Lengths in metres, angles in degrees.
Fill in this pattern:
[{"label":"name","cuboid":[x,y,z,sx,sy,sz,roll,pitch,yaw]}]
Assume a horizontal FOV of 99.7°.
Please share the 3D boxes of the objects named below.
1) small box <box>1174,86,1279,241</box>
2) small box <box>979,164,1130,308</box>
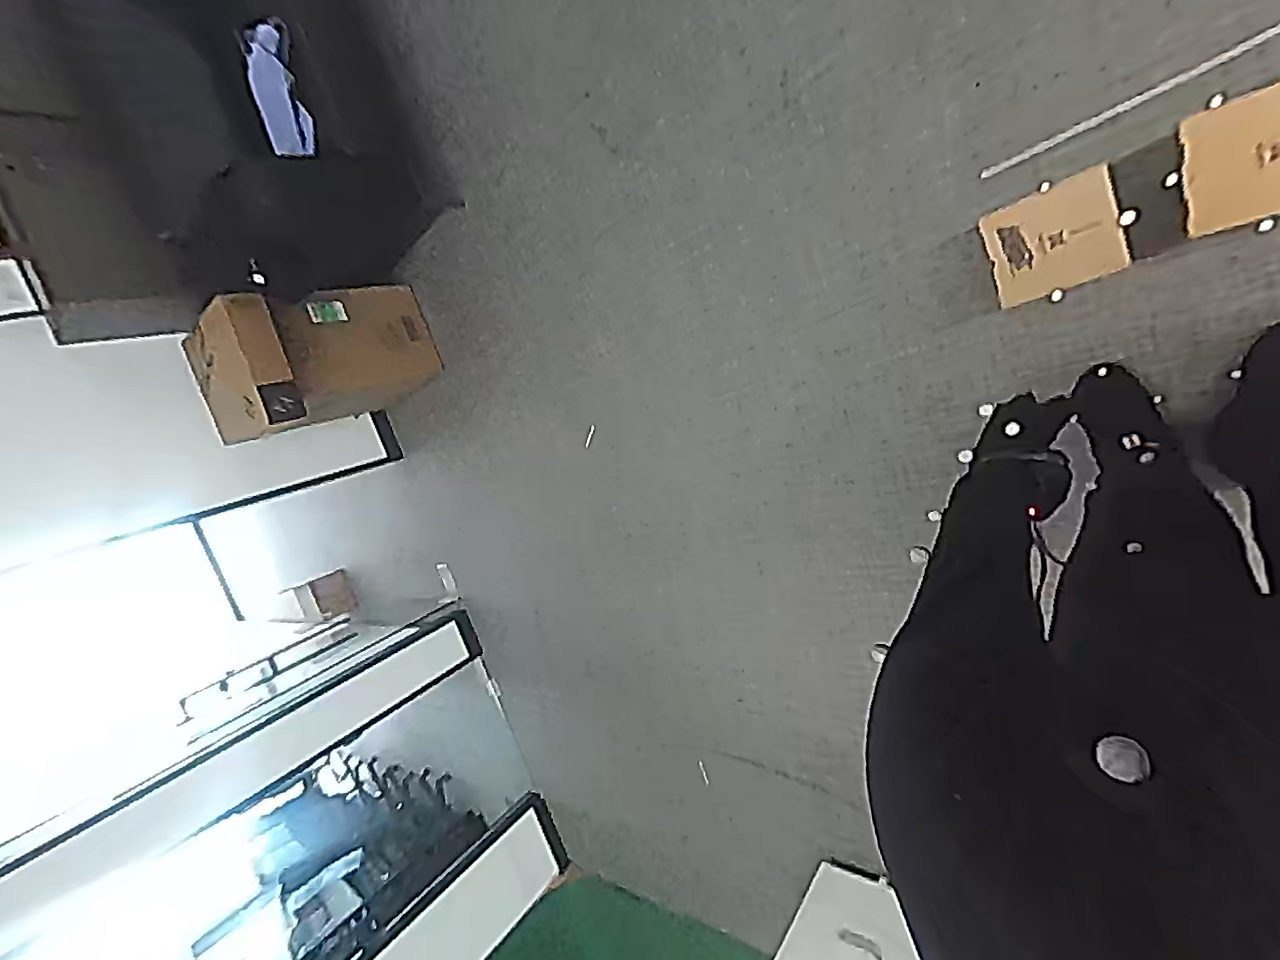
[{"label":"small box","cuboid":[0.898,-0.461,0.775,0.179,0.176,0.168,-6,104,45]},{"label":"small box","cuboid":[0.727,-0.416,0.947,0.179,0.176,0.168,-14,98,44]}]
